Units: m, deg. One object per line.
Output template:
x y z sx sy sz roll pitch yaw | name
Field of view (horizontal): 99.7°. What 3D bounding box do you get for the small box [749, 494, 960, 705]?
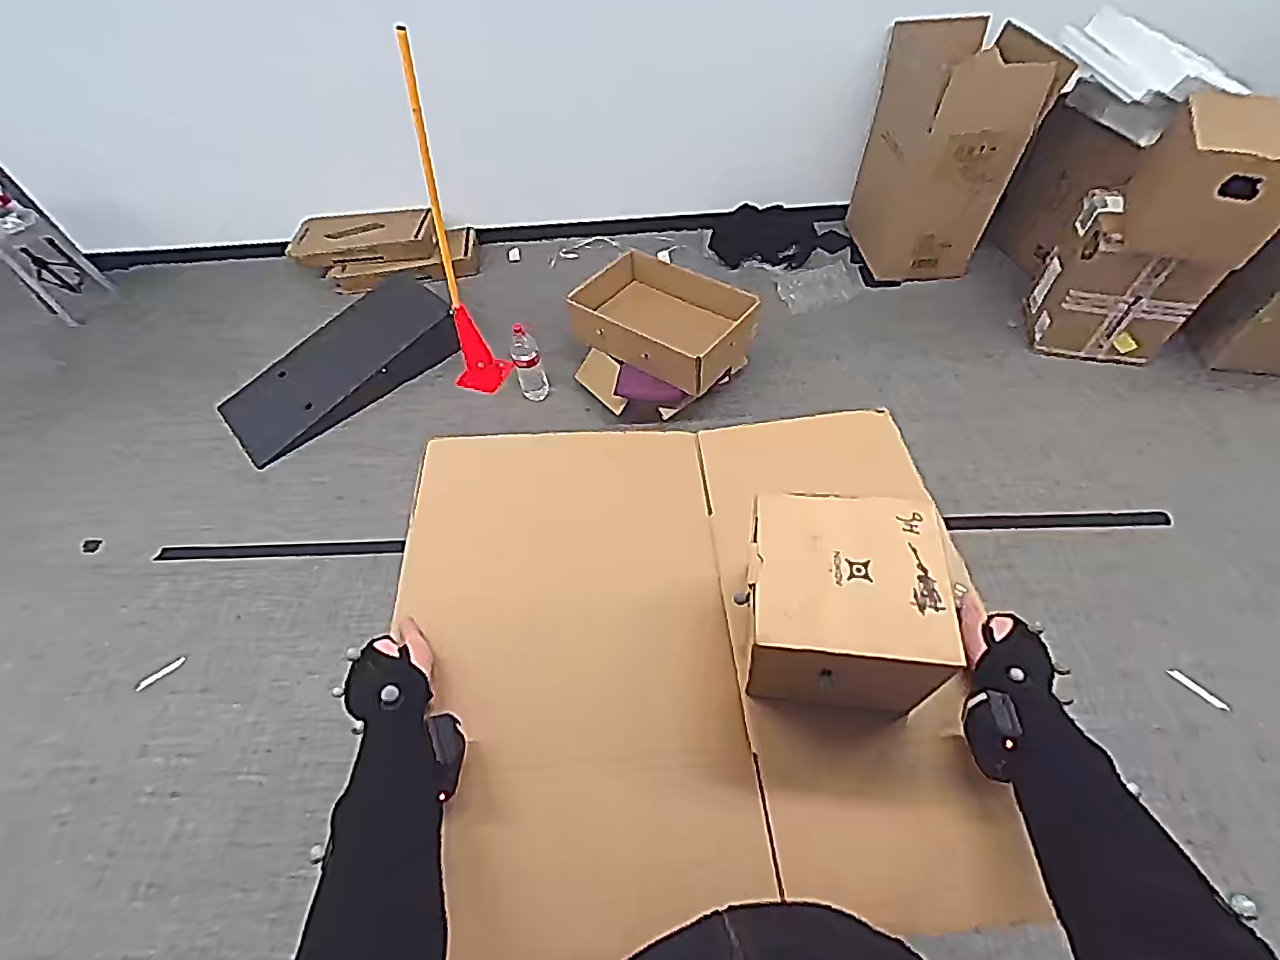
0.209 0.131 0.581 0.179 0.176 0.168 2 55 11 | small box
